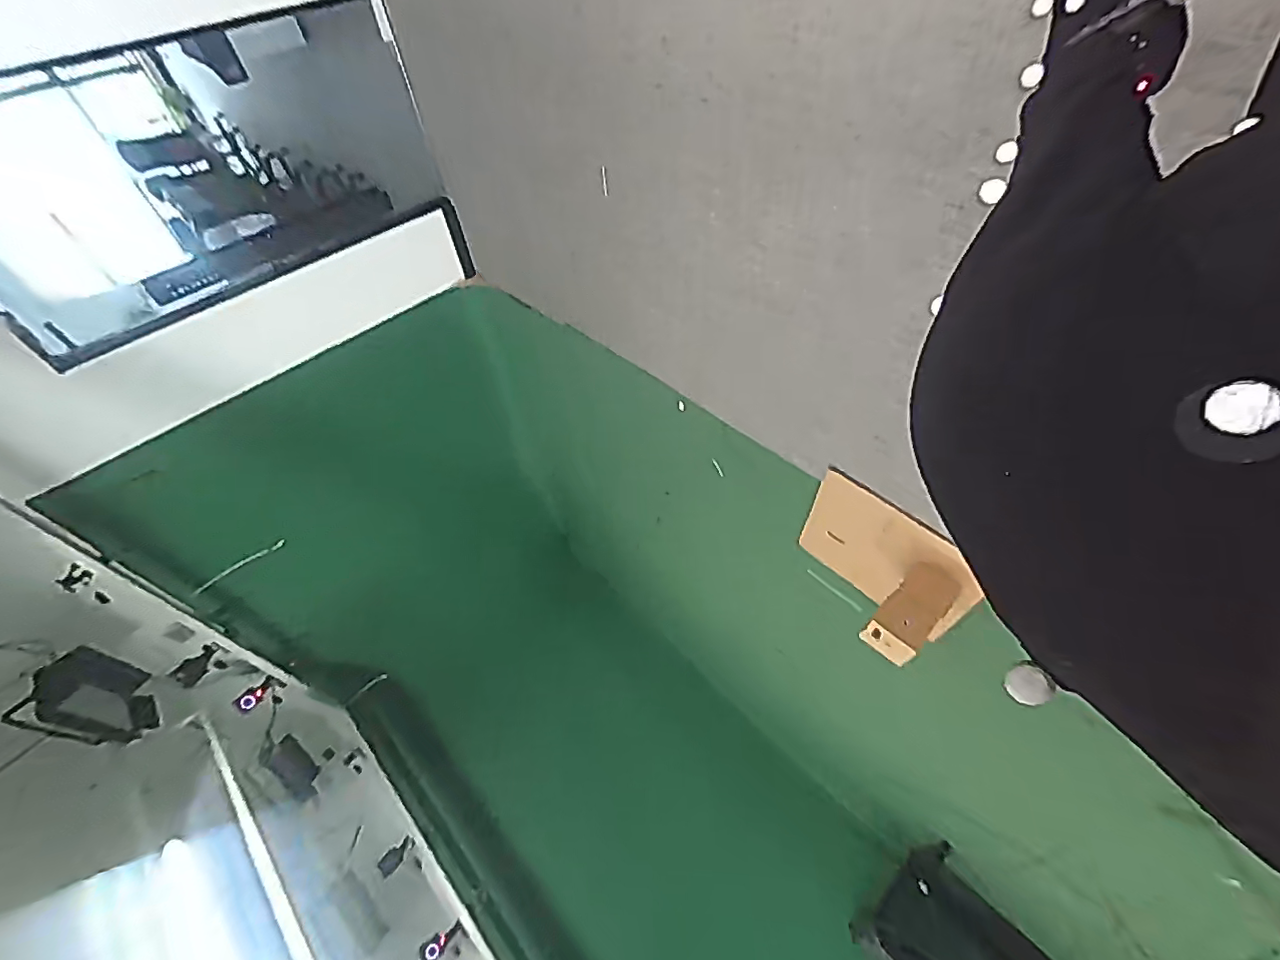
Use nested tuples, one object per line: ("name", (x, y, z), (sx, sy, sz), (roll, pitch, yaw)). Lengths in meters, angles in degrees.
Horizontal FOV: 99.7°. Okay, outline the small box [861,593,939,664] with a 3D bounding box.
("small box", (0.965, 0.544, 2.008), (0.179, 0.176, 0.168), (37, 153, 23))
